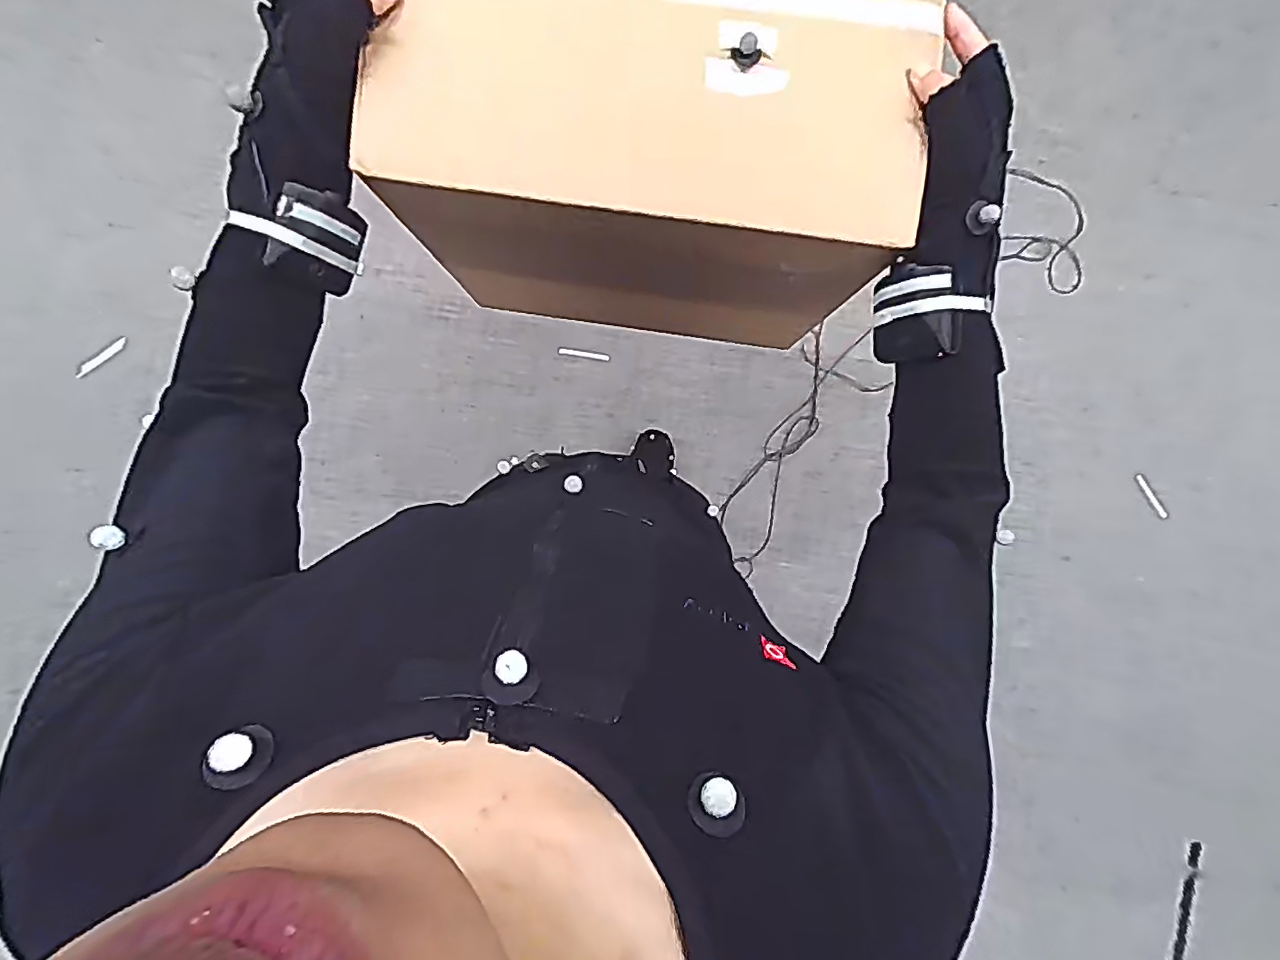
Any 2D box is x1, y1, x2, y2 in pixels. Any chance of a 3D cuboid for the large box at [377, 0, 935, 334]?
[{"bbox_3d":[0.016,-0.358,0.547,0.408,0.320,0.320,7,91,-1],"label":"large box"}]
